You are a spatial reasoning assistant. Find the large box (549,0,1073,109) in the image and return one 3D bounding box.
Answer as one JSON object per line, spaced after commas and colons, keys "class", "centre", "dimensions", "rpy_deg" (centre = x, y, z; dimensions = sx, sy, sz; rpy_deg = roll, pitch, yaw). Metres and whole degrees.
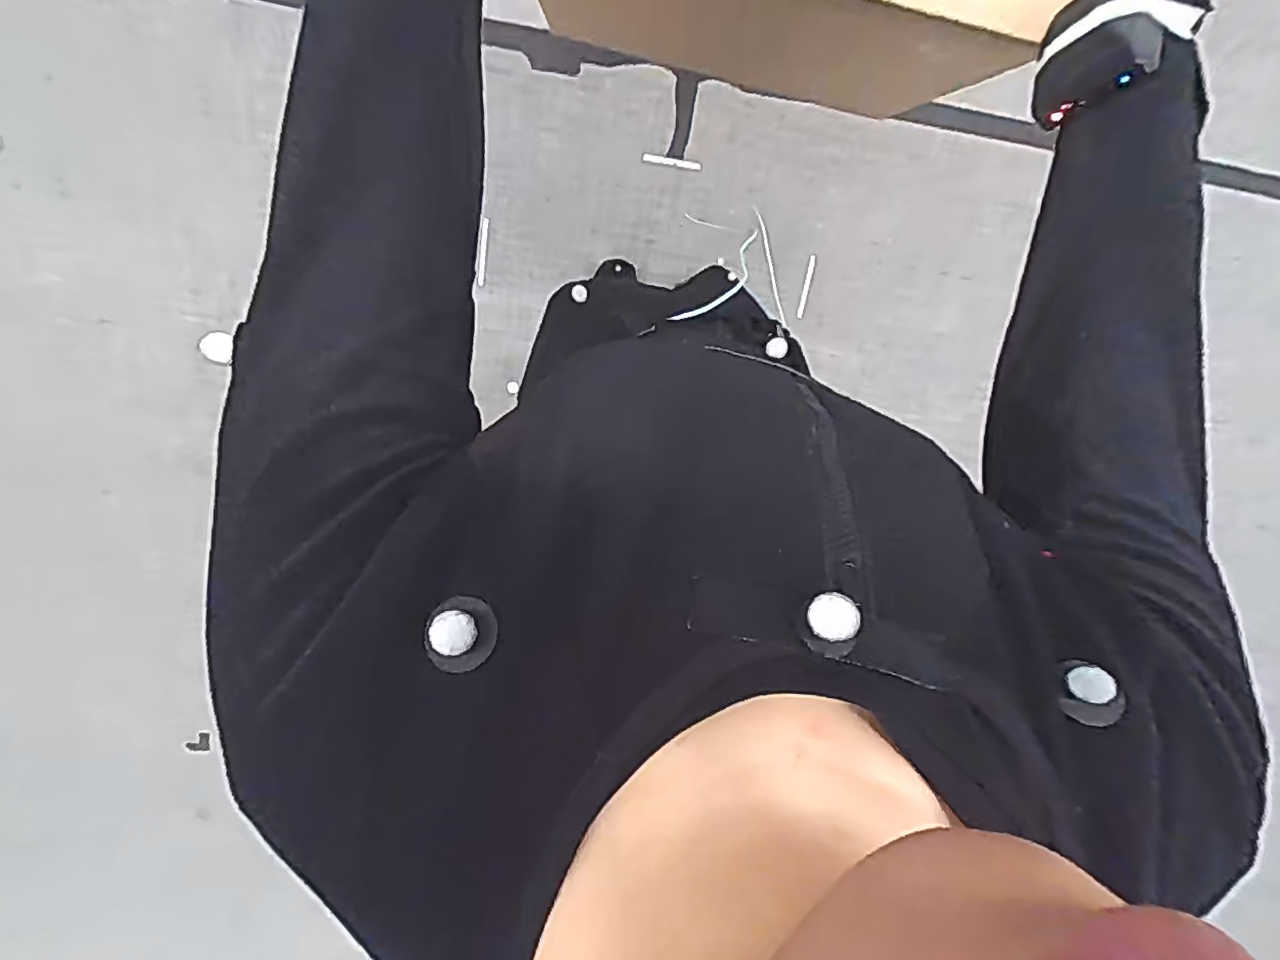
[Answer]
{"class": "large box", "centre": [0.131, -0.549, 0.438], "dimensions": [0.408, 0.320, 0.320], "rpy_deg": [10, 116, -7]}
